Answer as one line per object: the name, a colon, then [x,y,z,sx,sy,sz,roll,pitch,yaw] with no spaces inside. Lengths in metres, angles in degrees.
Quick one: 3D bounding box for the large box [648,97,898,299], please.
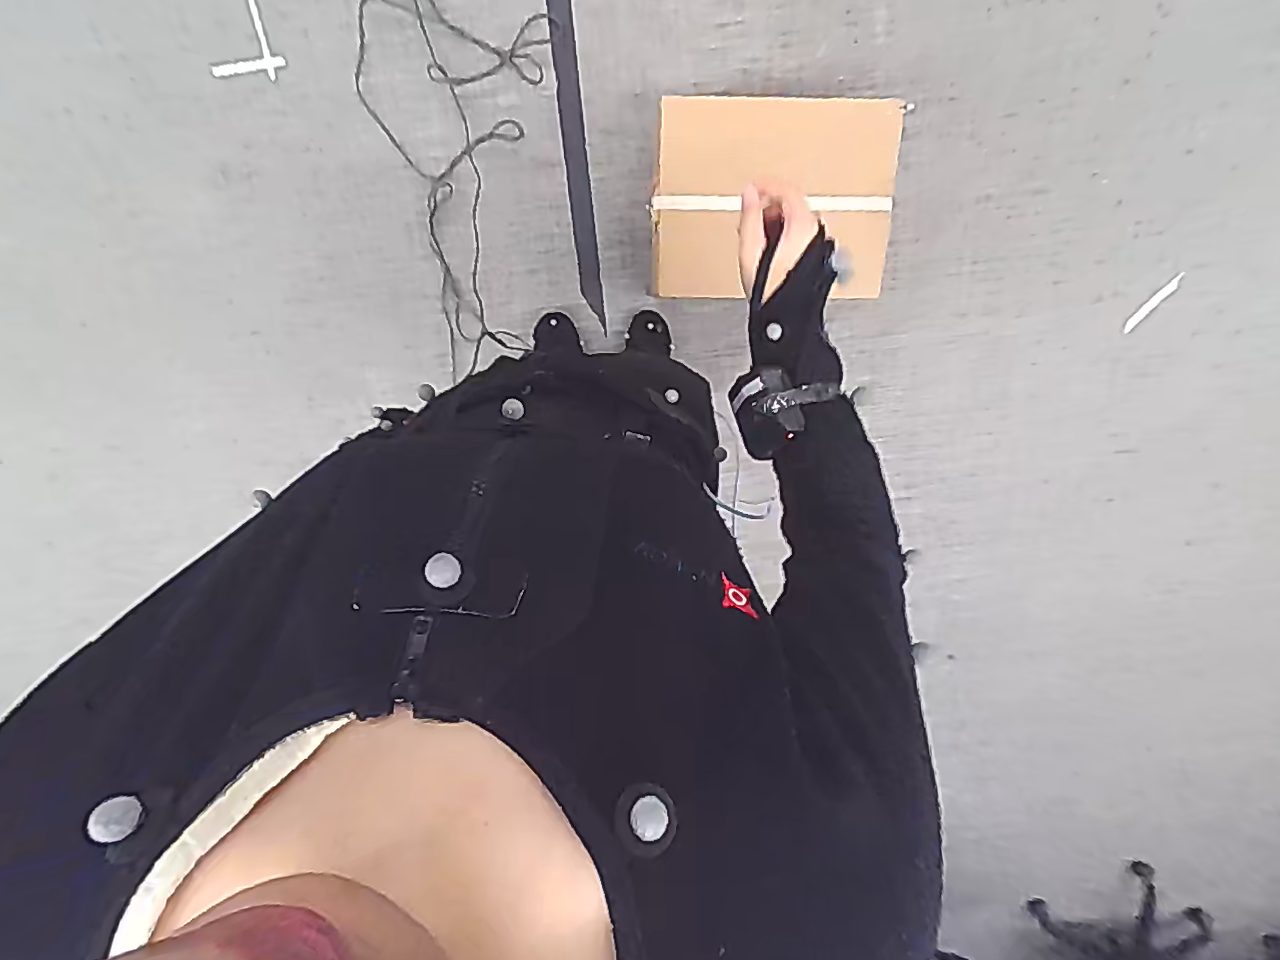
large box: [0.223,-0.526,1.073,0.408,0.320,0.320,0,109,-2]
